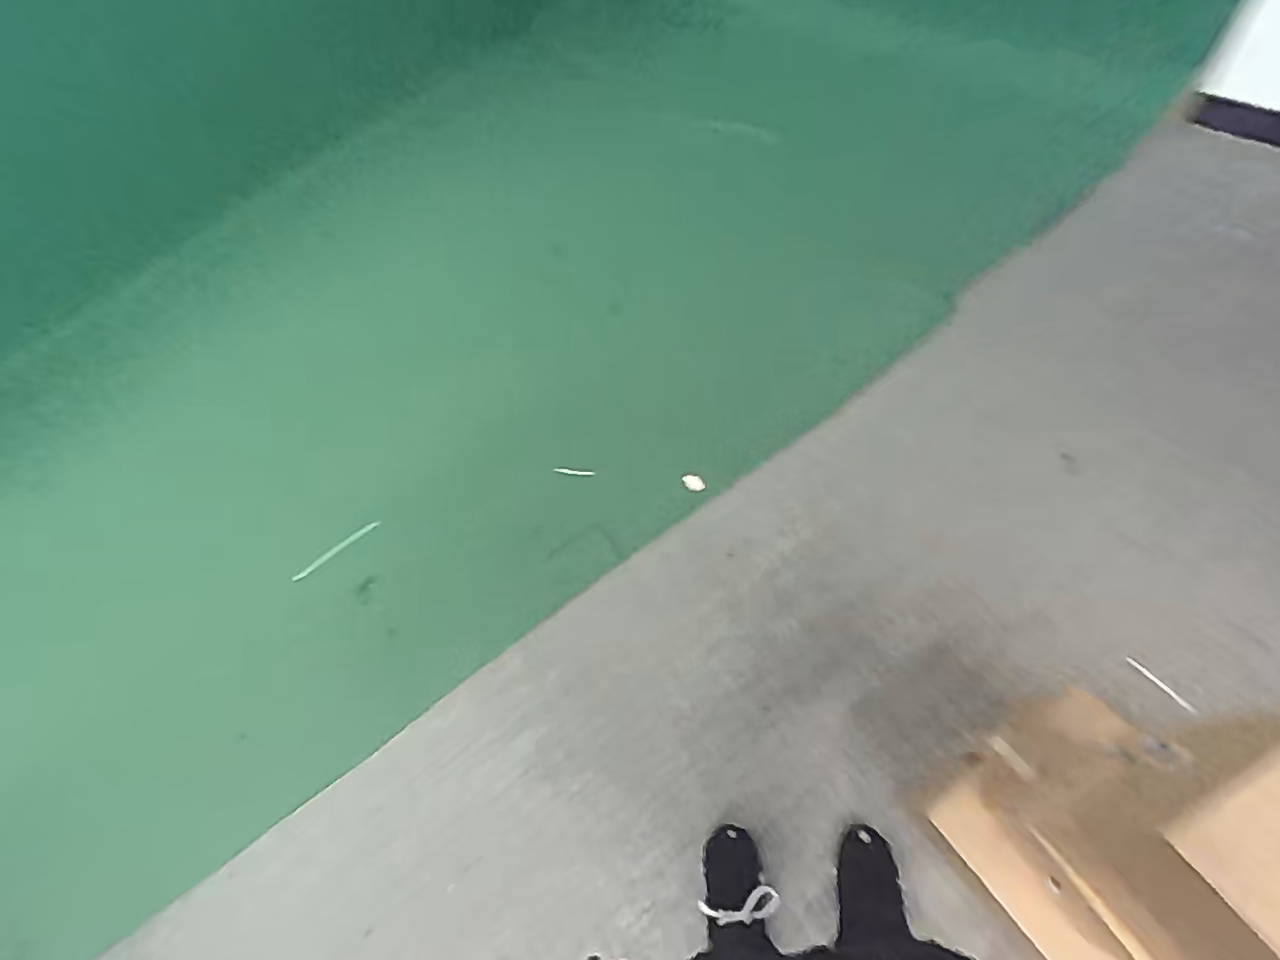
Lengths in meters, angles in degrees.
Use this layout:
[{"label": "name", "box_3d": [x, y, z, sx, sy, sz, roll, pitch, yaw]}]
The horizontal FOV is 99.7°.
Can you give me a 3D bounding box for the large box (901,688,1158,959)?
[{"label": "large box", "box_3d": [0.697, 0.599, 0.844, 0.320, 0.320, 0.408, -38, 60, -2]}]
